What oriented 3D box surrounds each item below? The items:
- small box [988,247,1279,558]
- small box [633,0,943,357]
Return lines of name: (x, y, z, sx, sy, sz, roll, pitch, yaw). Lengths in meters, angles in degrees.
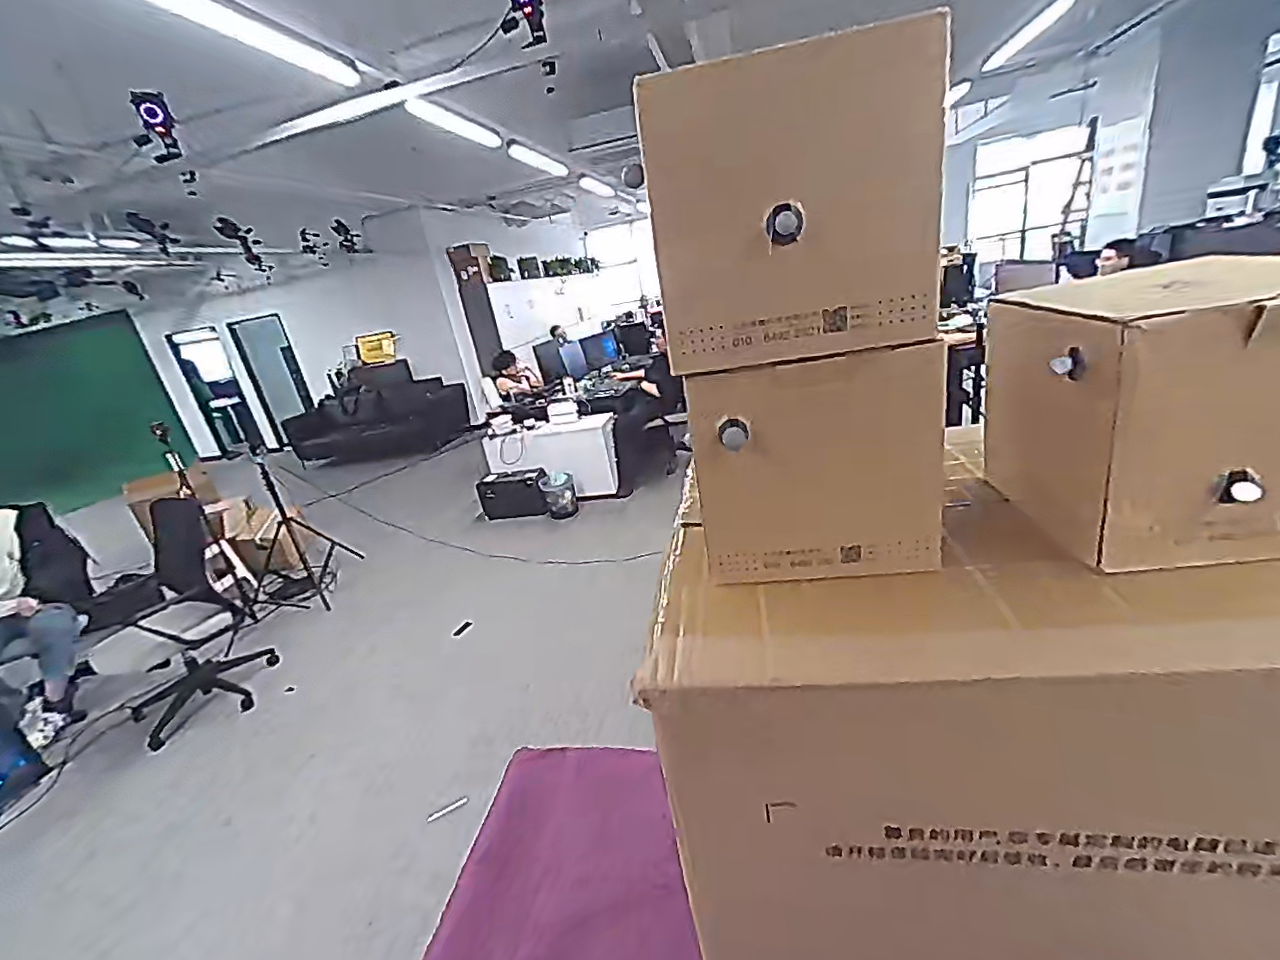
small box: (0.376, -0.062, 0.389, 0.168, 0.176, 0.179, -8, 21, 11)
small box: (0.097, -0.189, 0.389, 0.168, 0.176, 0.179, -6, 21, 8)
